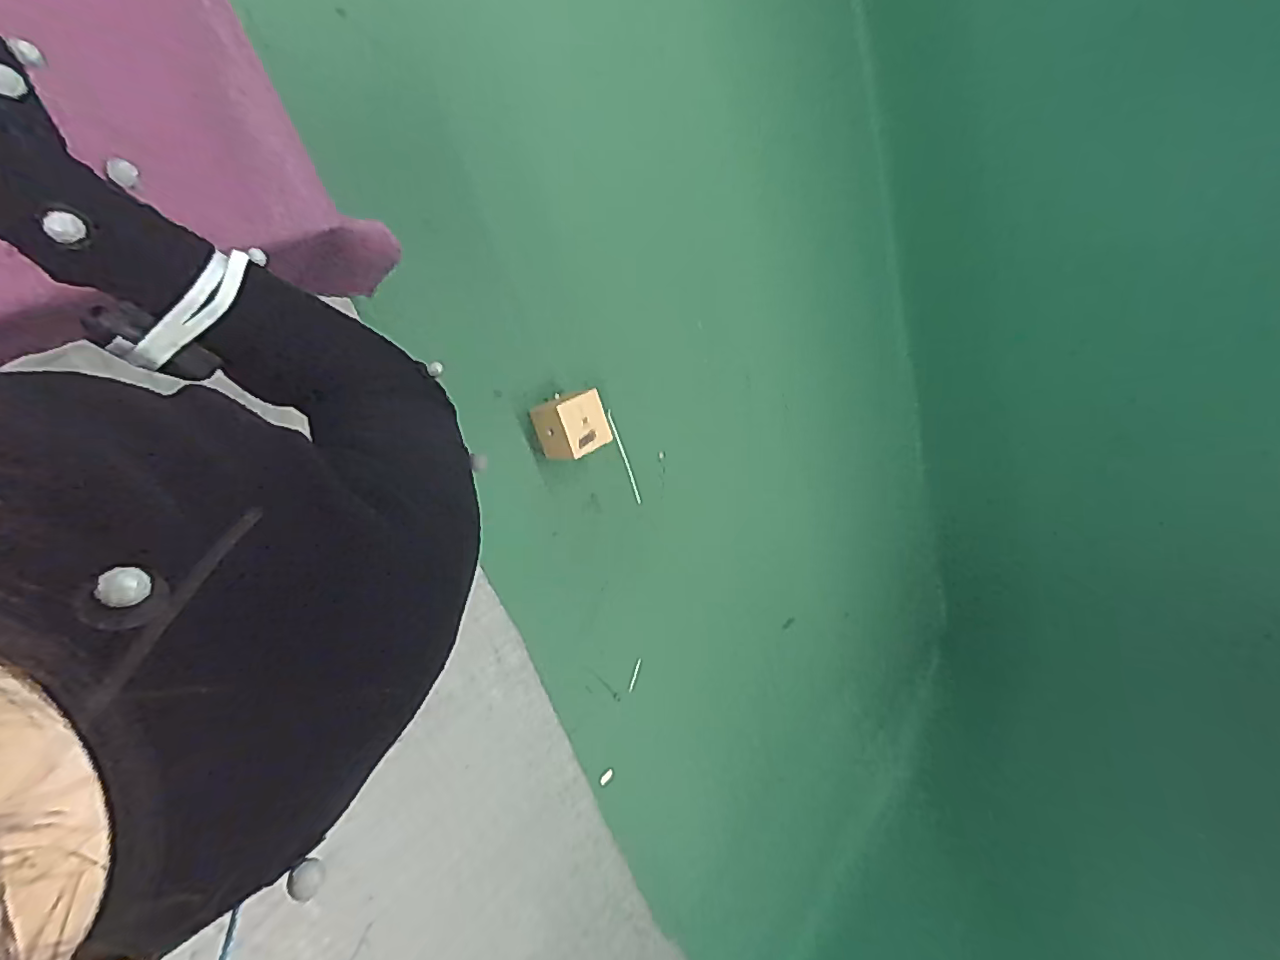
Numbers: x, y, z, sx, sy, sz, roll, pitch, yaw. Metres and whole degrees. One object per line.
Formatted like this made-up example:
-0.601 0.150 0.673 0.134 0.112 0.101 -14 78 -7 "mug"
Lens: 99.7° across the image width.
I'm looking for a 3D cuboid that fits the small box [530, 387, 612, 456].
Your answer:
-0.222 -0.188 1.737 0.168 0.176 0.179 -32 112 -36 "small box"
